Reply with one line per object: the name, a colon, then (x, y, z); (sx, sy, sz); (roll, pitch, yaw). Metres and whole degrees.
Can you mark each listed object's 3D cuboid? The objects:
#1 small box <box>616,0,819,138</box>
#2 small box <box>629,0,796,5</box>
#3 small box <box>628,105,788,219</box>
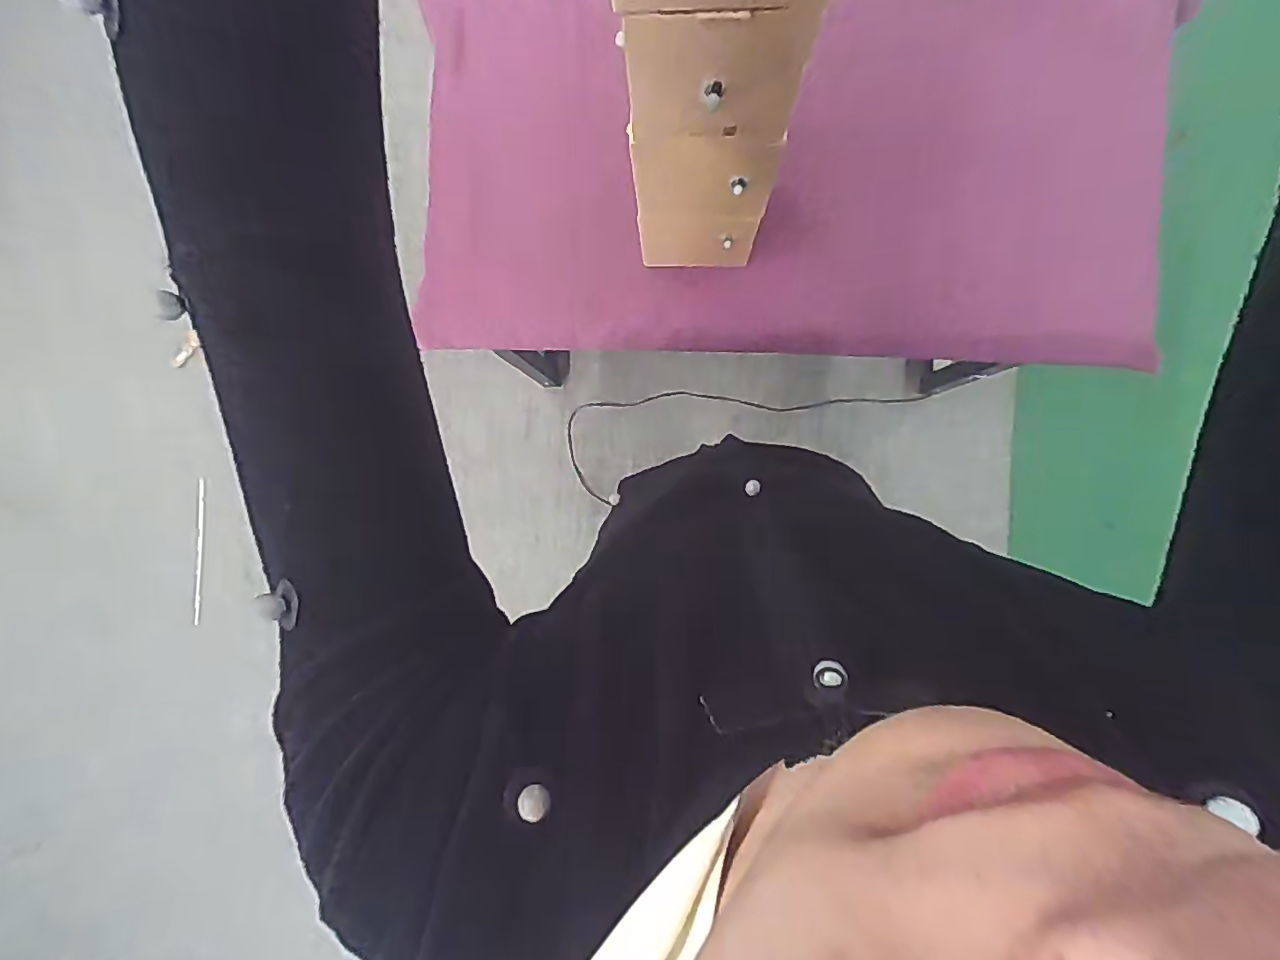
small box: (0.070, -0.457, 0.514); (0.168, 0.176, 0.179); (1, 89, 4)
small box: (0.060, -0.456, 0.349); (0.179, 0.176, 0.168); (1, 89, 3)
small box: (0.082, -0.448, 0.676); (0.179, 0.176, 0.168); (2, 89, 5)
